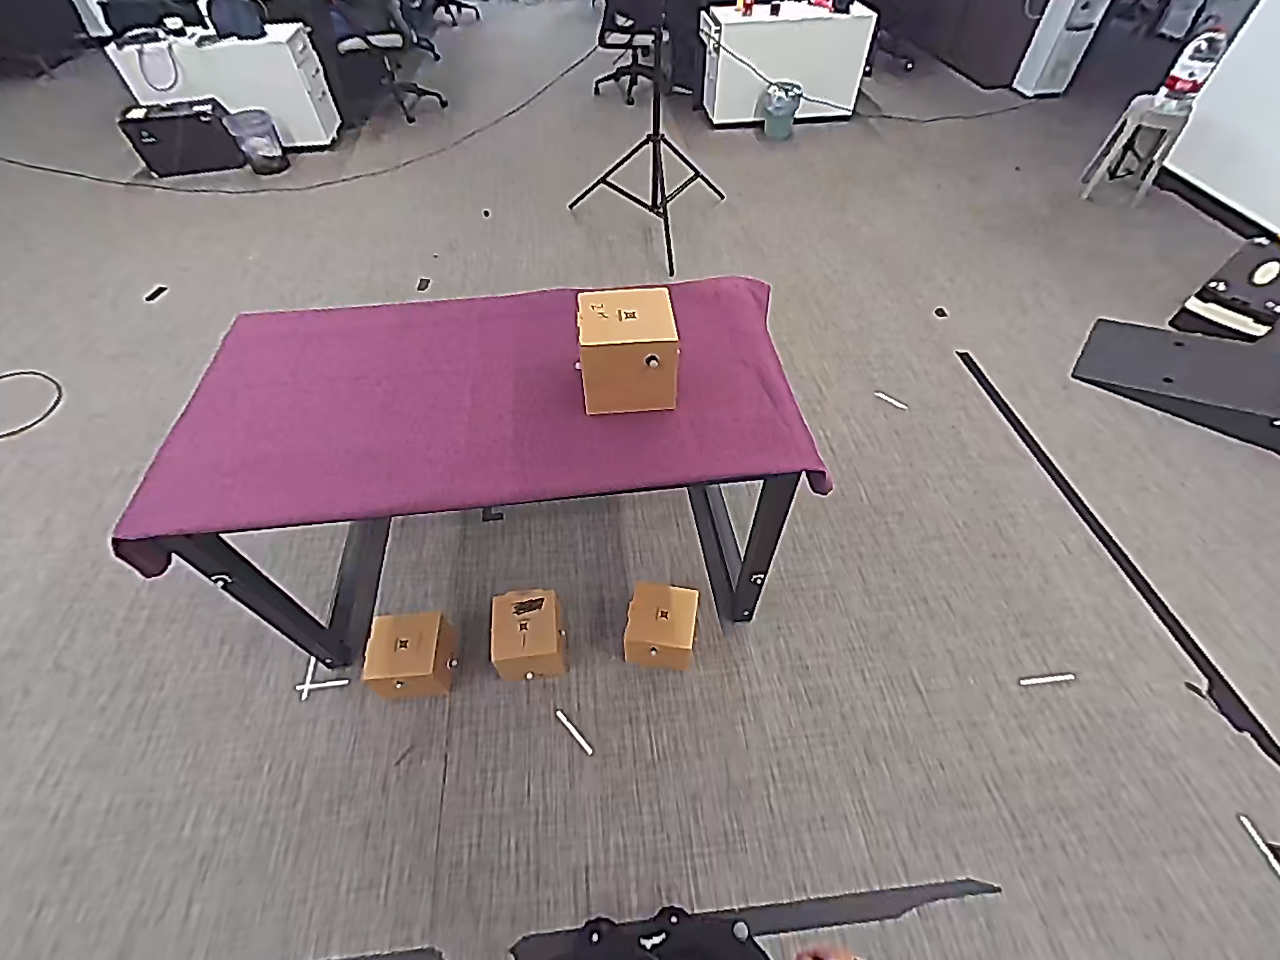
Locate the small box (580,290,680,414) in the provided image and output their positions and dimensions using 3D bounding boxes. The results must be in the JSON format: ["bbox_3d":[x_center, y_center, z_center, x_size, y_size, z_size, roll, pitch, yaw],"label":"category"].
[{"bbox_3d":[-0.022,-0.244,1.044,0.179,0.176,0.168,-5,51,-2],"label":"small box"}]

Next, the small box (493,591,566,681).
[{"bbox_3d":[-0.293,0.420,1.454,0.168,0.176,0.179,-7,53,-4],"label":"small box"}]

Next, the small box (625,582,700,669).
[{"bbox_3d":[0.063,0.399,1.467,0.179,0.176,0.168,7,53,8],"label":"small box"}]

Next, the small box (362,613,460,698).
[{"bbox_3d":[-0.594,0.466,1.426,0.179,0.176,0.168,-3,53,-3],"label":"small box"}]
